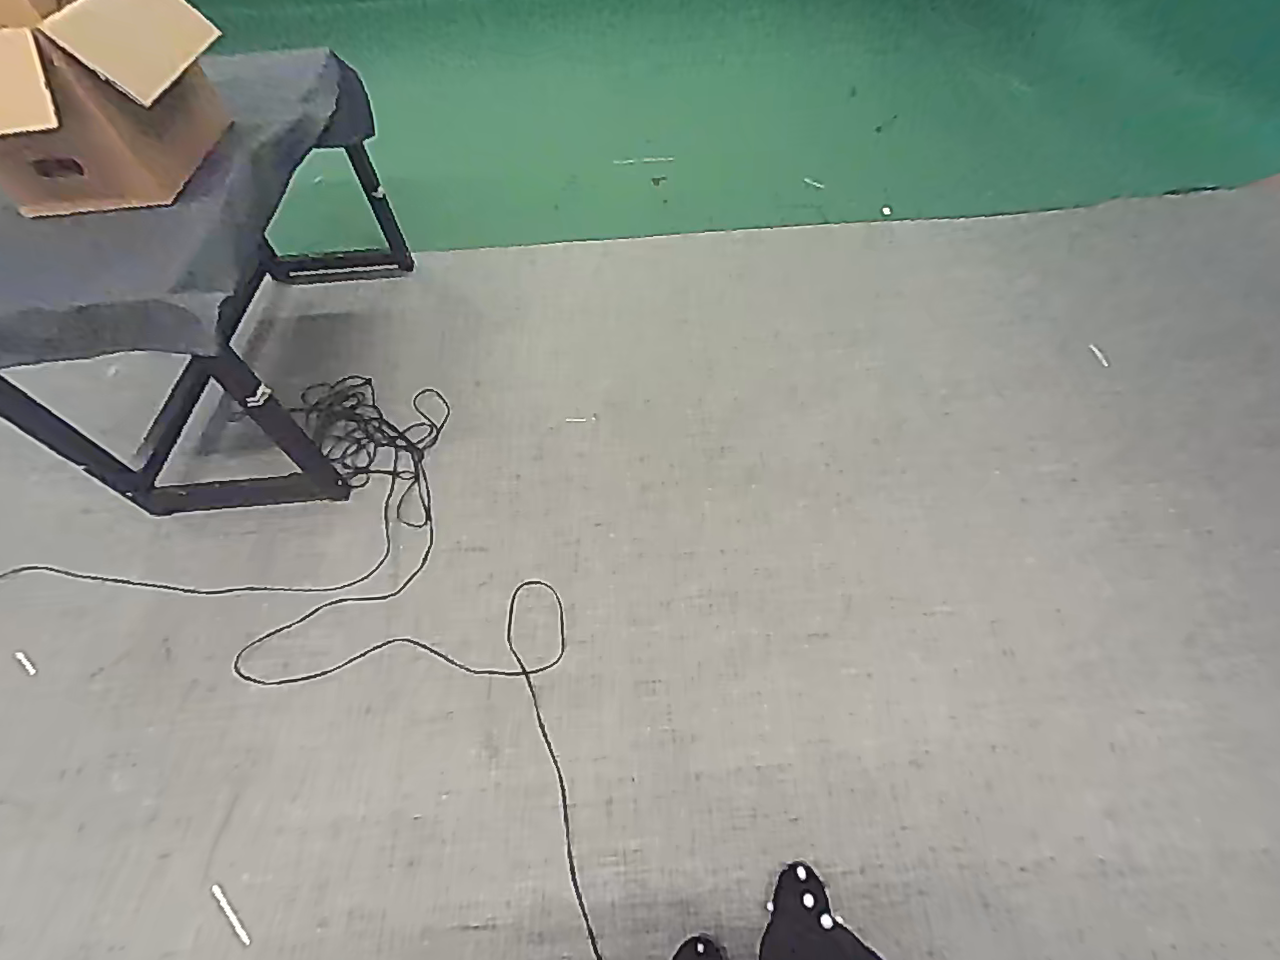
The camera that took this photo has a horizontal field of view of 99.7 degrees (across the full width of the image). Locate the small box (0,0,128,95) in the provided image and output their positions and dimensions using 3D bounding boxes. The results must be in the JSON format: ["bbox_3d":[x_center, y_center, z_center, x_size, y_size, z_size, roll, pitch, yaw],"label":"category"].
[{"bbox_3d":[-1.179,-0.887,1.063,0.168,0.176,0.179,-6,55,-1],"label":"small box"}]
